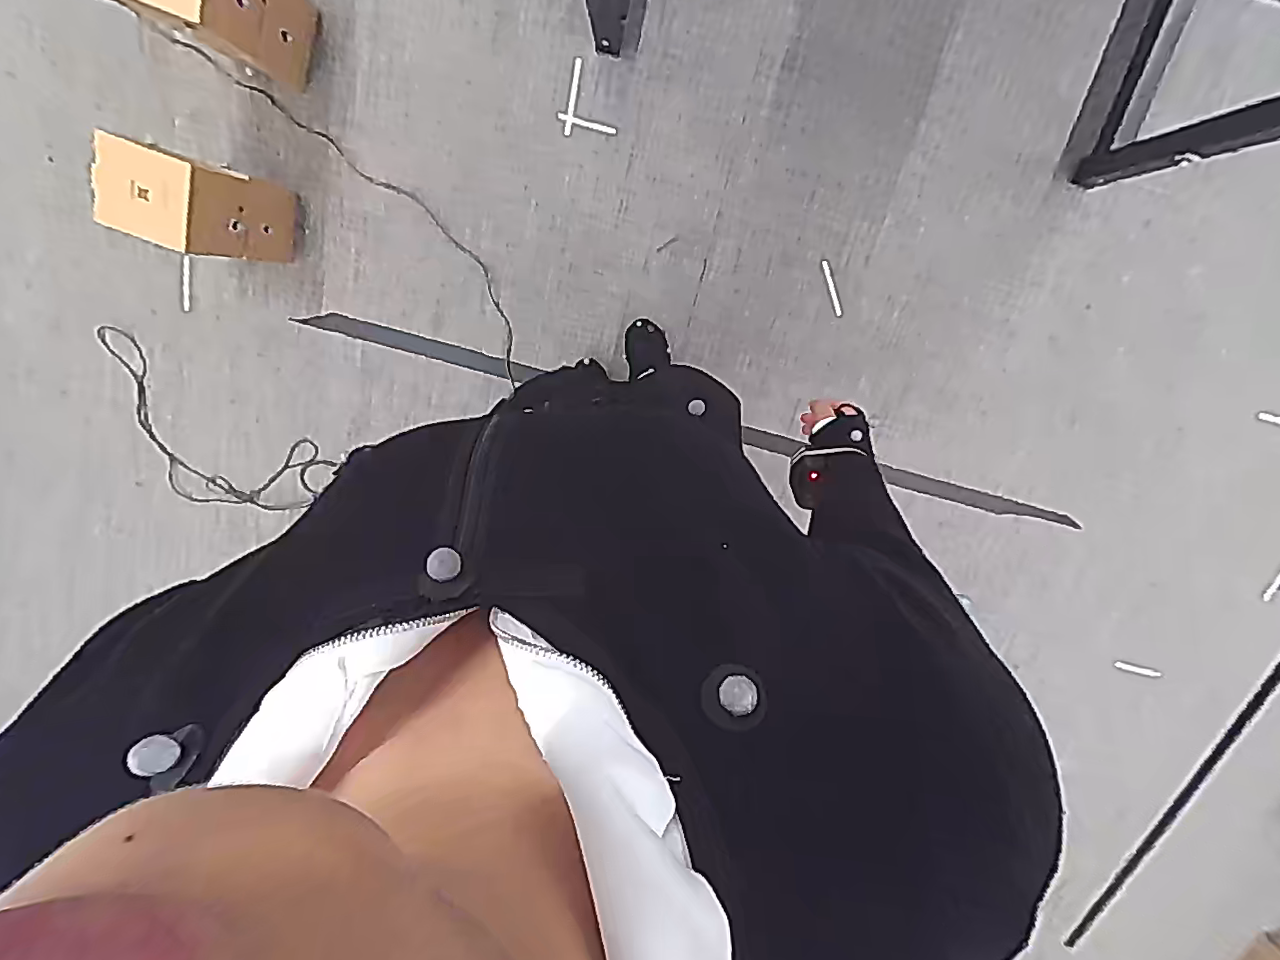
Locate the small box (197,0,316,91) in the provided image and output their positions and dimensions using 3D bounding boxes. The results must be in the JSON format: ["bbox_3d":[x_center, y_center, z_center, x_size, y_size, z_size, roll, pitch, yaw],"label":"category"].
[{"bbox_3d":[-0.810,-0.964,1.125,0.168,0.176,0.179,22,108,-6],"label":"small box"}]

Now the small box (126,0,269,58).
[{"bbox_3d":[-0.804,-0.904,0.971,0.179,0.176,0.168,19,106,-5],"label":"small box"}]

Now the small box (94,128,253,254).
[{"bbox_3d":[-0.931,-0.567,1.089,0.179,0.176,0.168,18,109,-6],"label":"small box"}]

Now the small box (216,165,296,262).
[{"bbox_3d":[-0.927,-0.614,1.246,0.168,0.176,0.179,14,109,-4],"label":"small box"}]
